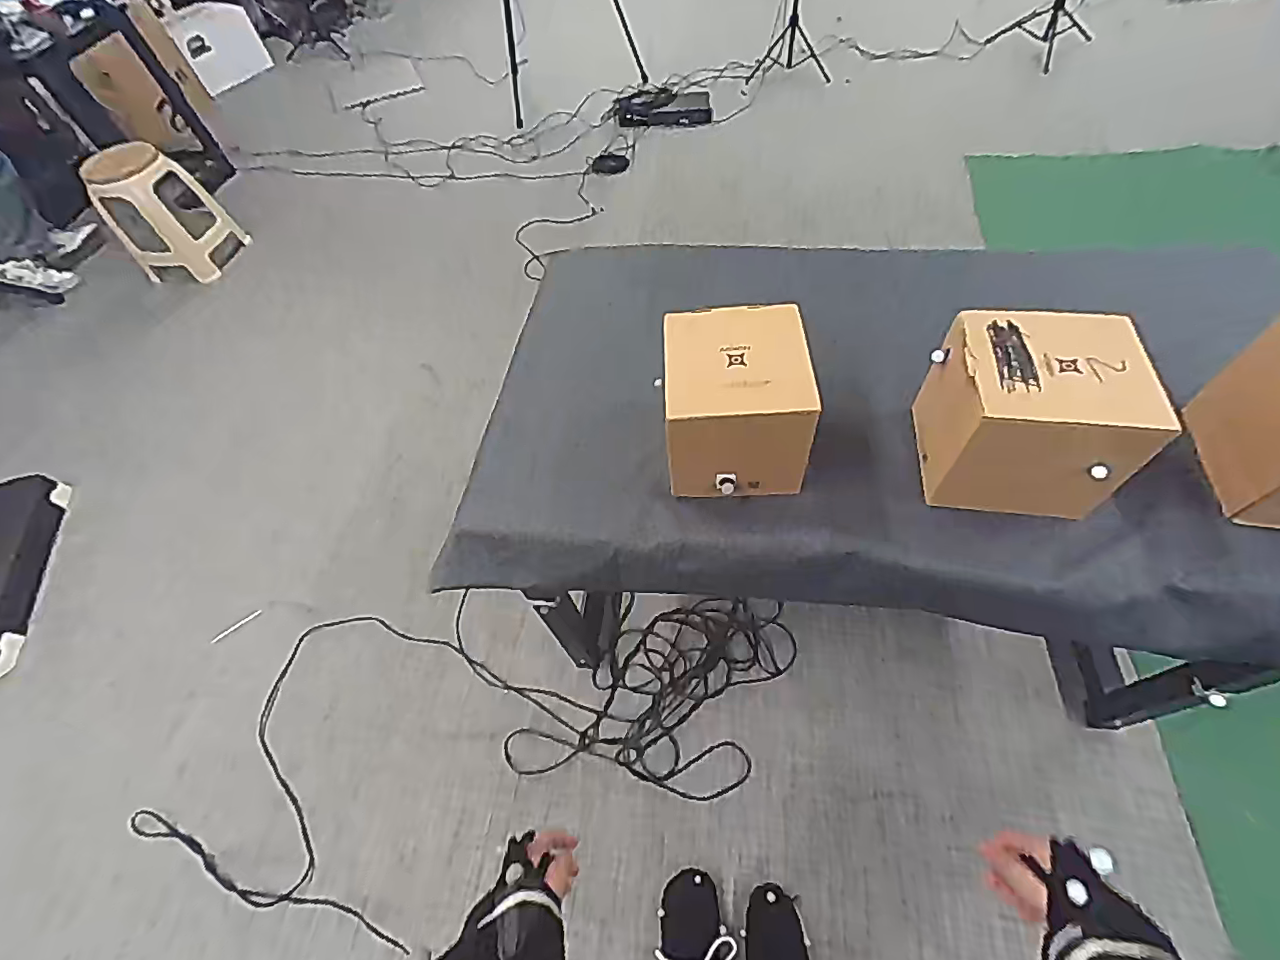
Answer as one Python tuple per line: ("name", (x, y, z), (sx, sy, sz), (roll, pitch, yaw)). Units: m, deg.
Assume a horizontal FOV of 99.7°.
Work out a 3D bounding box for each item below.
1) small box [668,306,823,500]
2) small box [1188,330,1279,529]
("small box", (0.121, -0.092, 0.686), (0.168, 0.176, 0.179), (-3, 56, 6))
("small box", (0.763, -0.056, 0.584), (0.168, 0.176, 0.179), (7, 57, 12))
